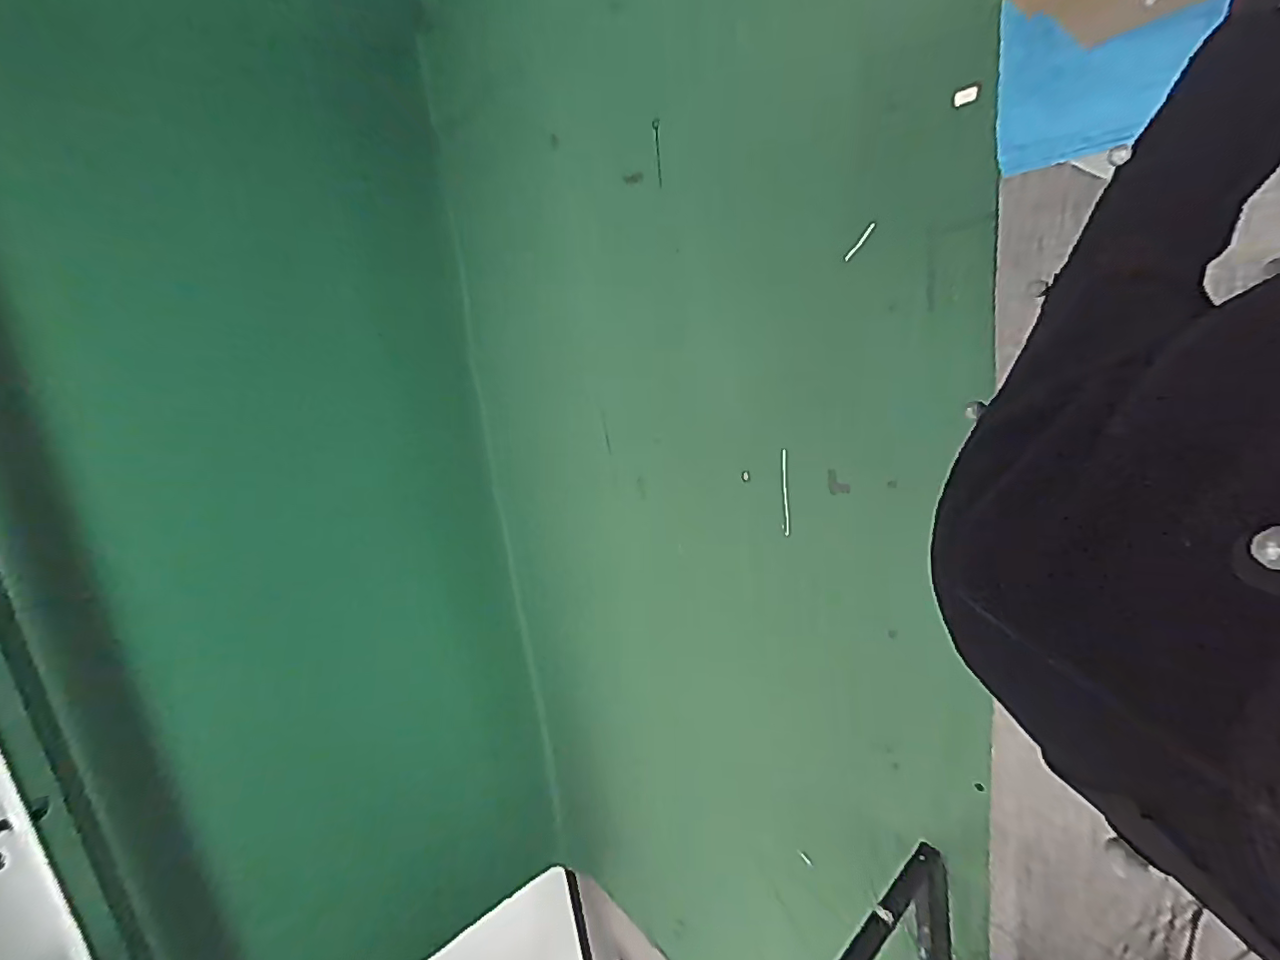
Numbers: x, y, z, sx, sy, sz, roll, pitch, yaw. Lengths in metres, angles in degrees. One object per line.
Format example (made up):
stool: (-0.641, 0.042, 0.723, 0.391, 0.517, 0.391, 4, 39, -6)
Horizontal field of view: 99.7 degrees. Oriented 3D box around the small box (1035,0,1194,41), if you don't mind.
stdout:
small box: (0.522, -0.584, 0.532, 0.179, 0.176, 0.168, 9, 109, 50)
